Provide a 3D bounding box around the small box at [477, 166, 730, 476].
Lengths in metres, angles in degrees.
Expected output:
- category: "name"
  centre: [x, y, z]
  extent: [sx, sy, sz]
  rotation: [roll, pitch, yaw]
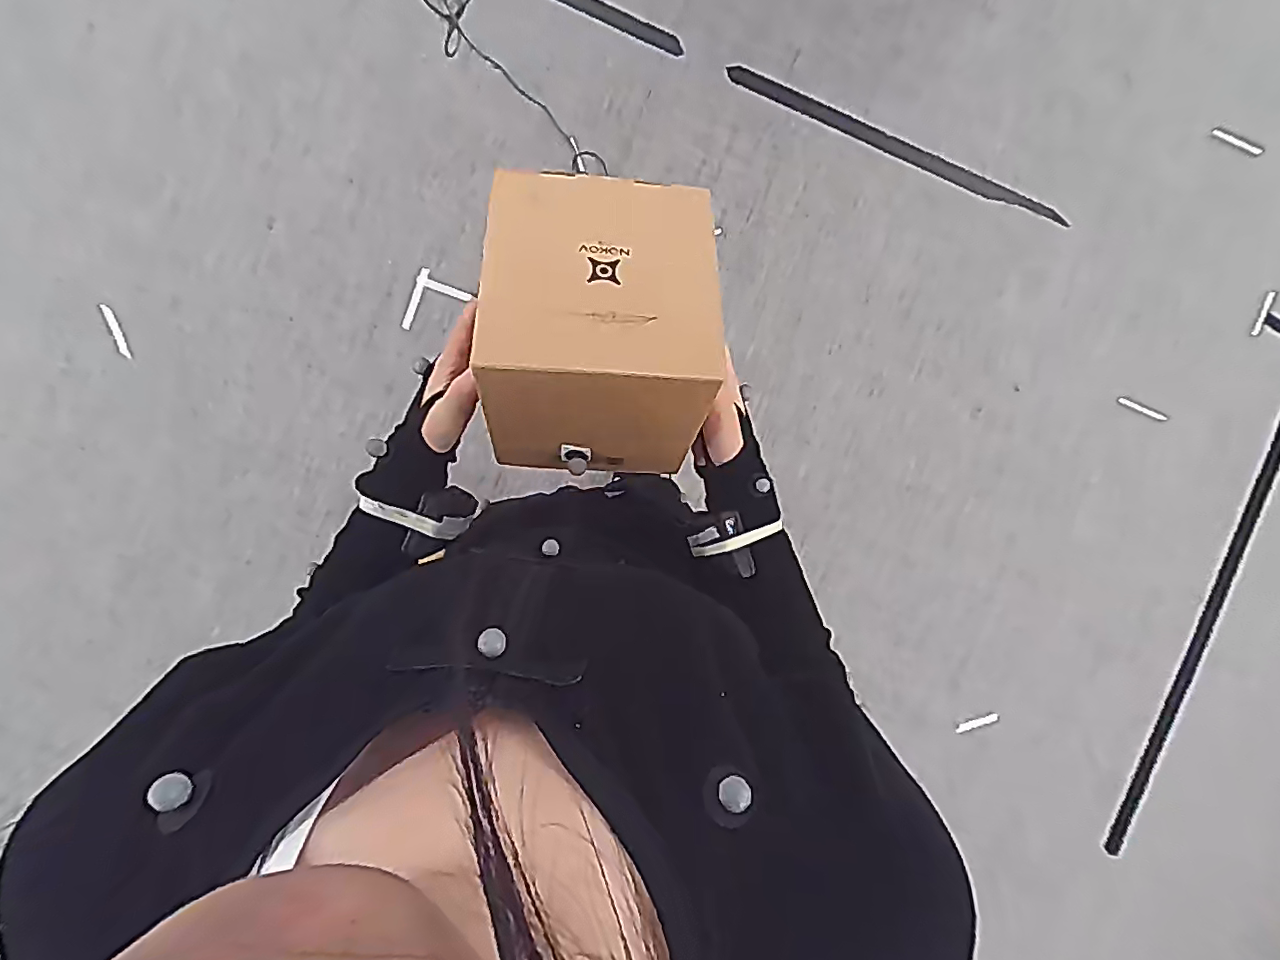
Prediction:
- category: "small box"
  centre: [-0.033, -0.118, 0.448]
  extent: [0.168, 0.176, 0.179]
  rotation: [1, 69, -7]
